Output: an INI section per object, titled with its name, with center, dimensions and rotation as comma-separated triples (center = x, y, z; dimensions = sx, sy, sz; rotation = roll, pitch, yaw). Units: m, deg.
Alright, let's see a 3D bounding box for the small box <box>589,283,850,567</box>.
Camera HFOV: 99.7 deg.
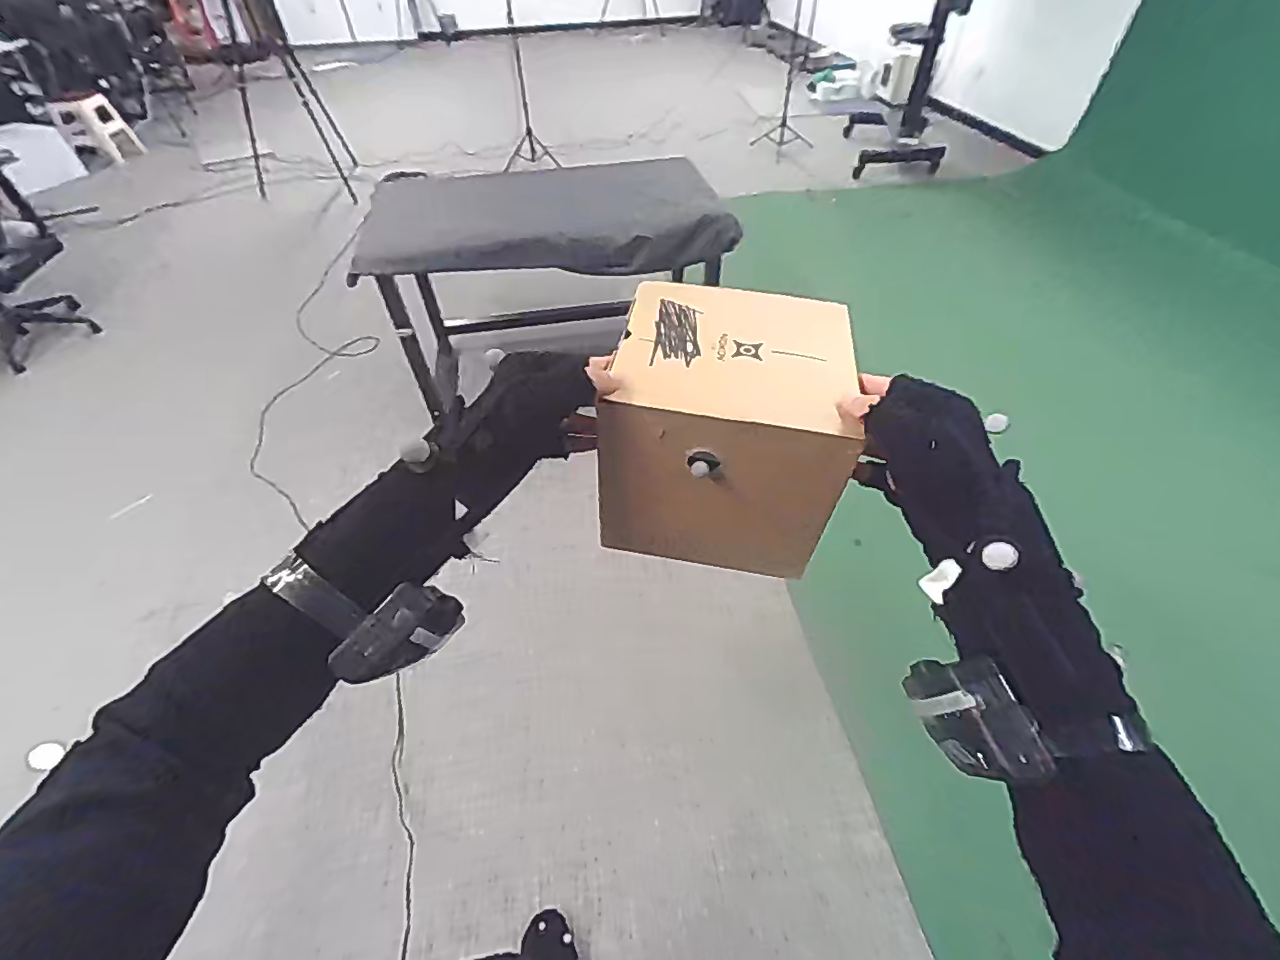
[small box]
center = 0.061, -0.044, 0.465
dimensions = 0.179, 0.176, 0.168
rotation = 9, 49, 5
